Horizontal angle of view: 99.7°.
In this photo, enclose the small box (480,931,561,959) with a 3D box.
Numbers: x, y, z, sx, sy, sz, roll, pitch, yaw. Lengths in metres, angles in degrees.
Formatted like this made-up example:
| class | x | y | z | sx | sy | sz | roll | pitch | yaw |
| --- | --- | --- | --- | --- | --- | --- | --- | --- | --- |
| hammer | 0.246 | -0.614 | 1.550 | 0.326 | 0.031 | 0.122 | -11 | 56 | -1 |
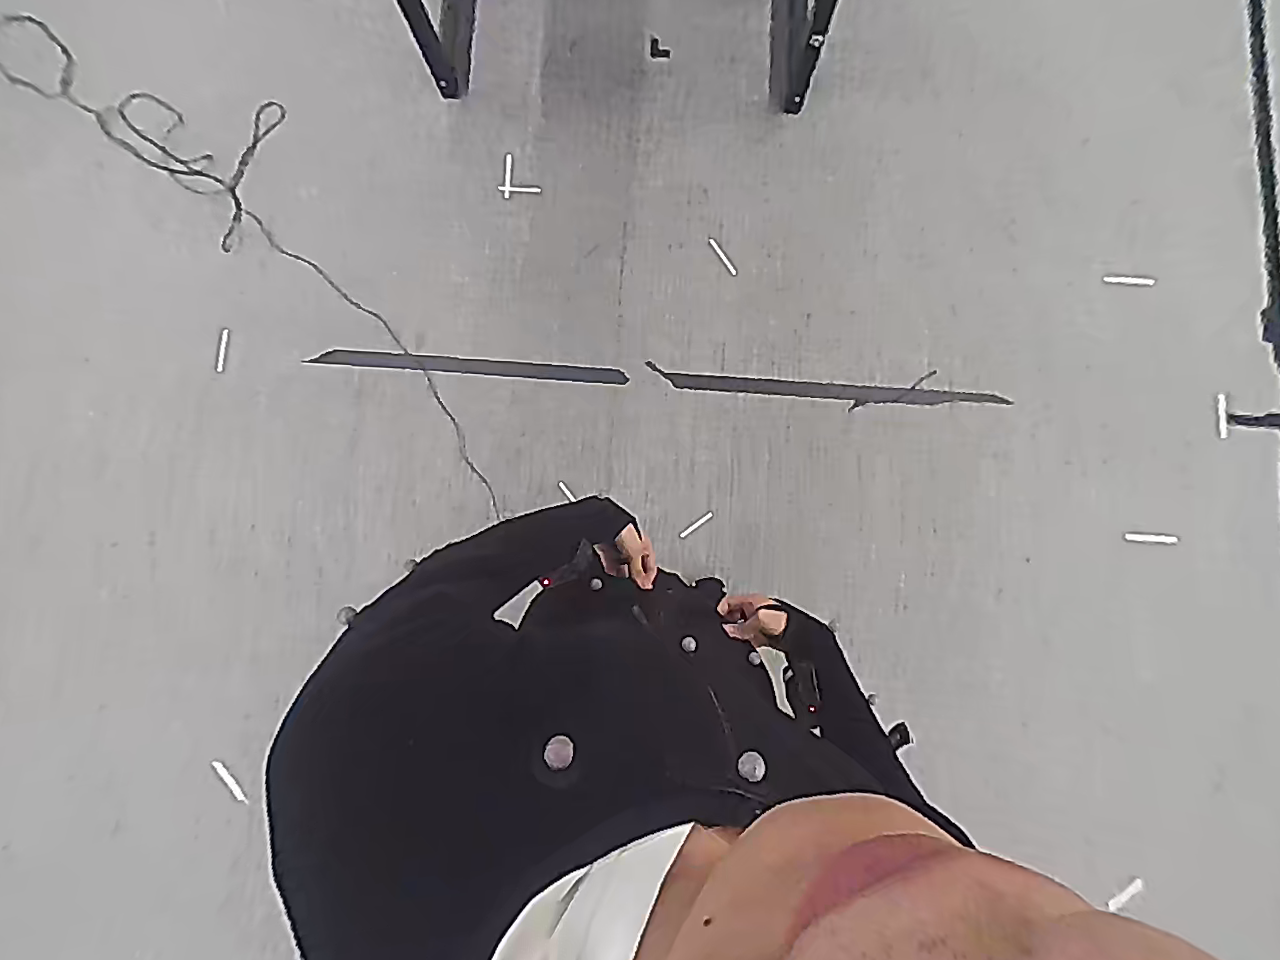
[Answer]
| class | x | y | z | sx | sy | sz | roll | pitch | yaw |
| --- | --- | --- | --- | --- | --- | --- | --- | --- | --- |
| small box | -0.258 | 1.056 | 1.076 | 0.168 | 0.176 | 0.179 | 10 | 86 | 2 |
